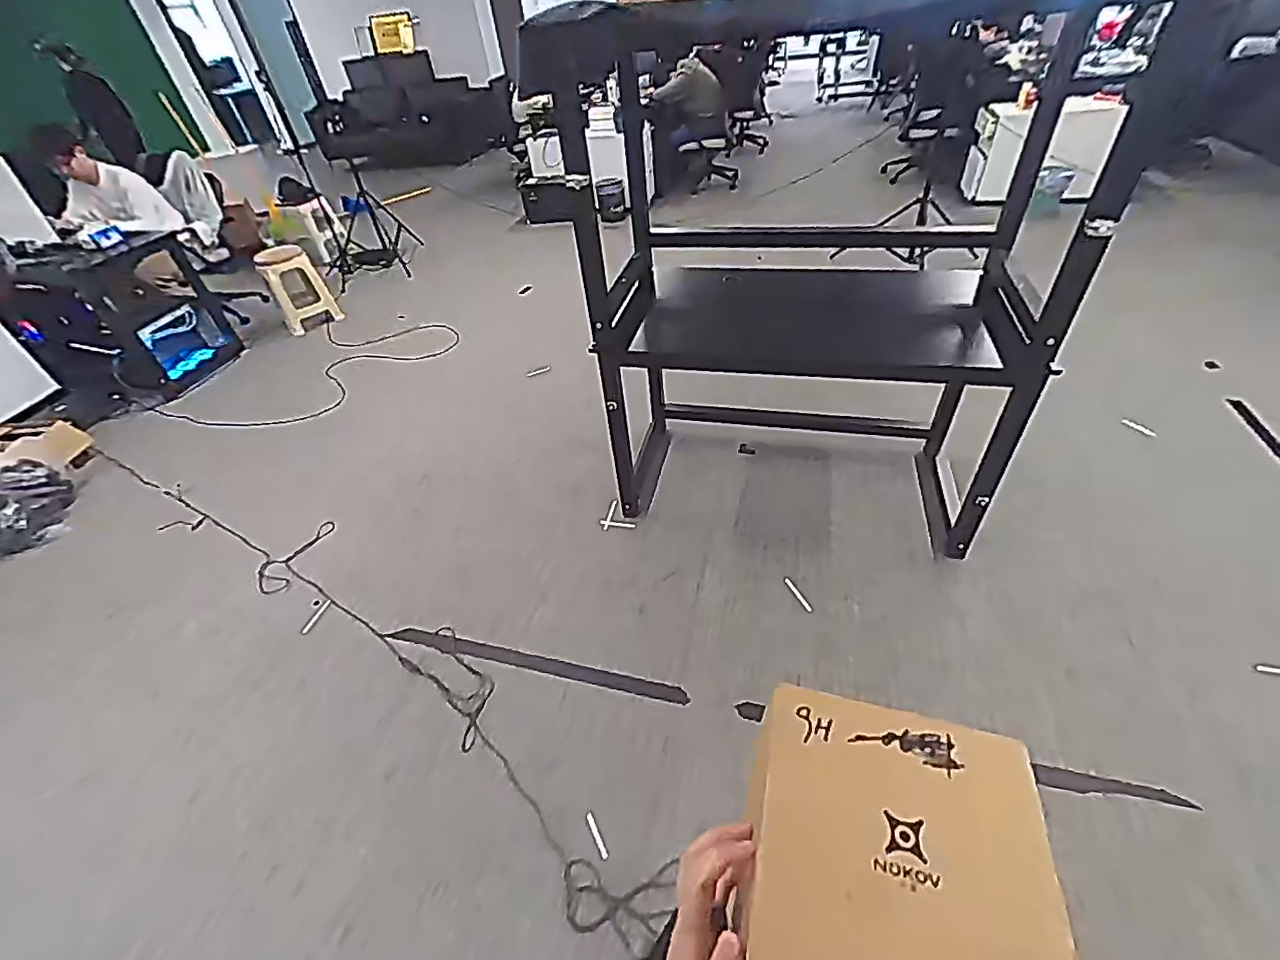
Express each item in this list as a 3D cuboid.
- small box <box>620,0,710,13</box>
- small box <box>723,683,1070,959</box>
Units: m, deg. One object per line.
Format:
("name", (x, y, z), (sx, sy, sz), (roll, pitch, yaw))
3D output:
("small box", (0.050, -1.032, 1.056), (0.168, 0.176, 0.179), (7, 41, 13))
("small box", (0.154, 0.275, 0.371), (0.168, 0.176, 0.179), (10, 46, 11))
